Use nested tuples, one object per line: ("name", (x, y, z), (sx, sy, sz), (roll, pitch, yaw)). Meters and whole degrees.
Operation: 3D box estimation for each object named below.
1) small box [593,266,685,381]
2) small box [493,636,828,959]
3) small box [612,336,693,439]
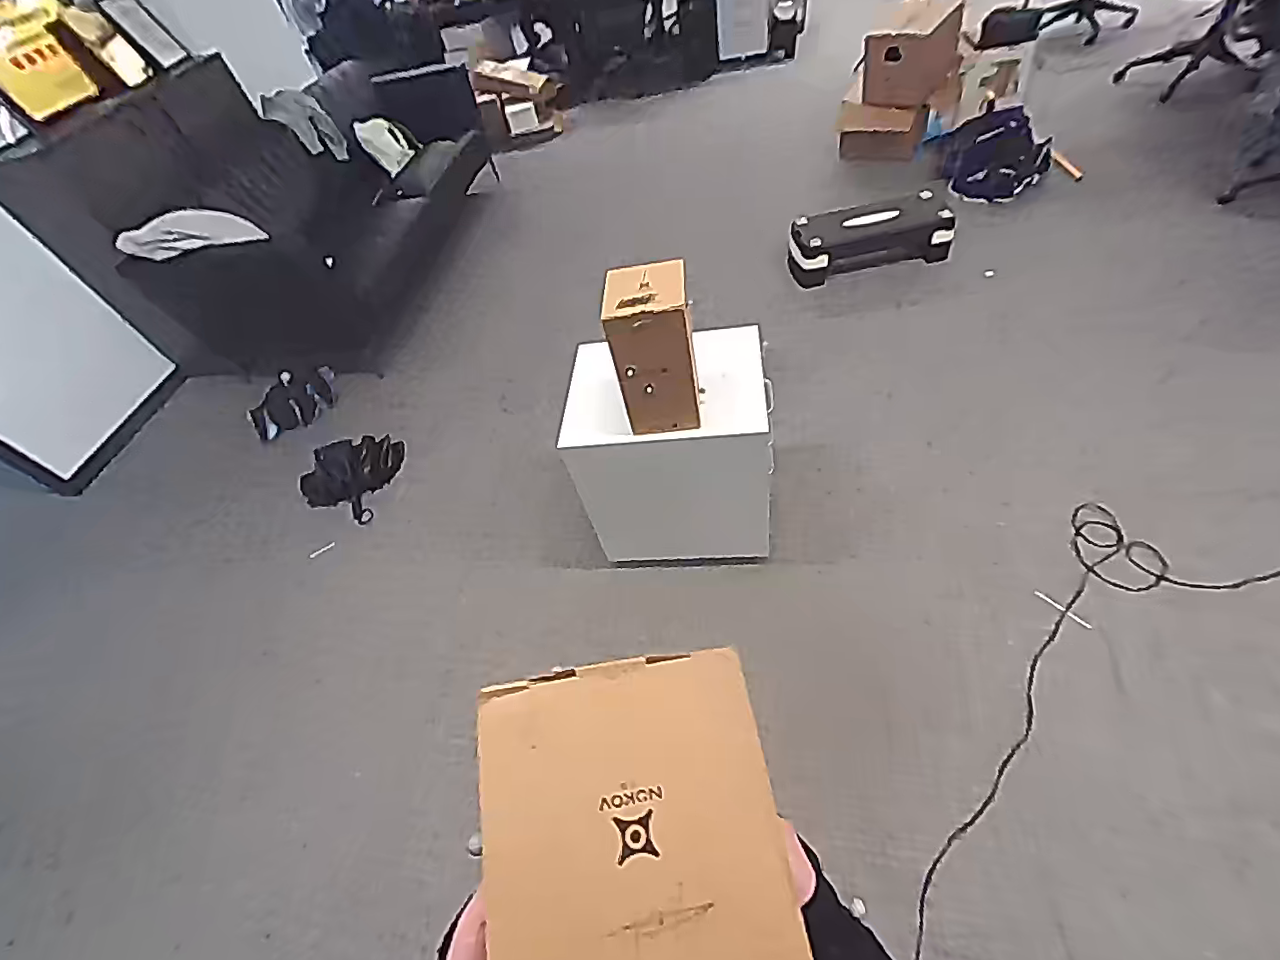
("small box", (0.004, -0.326, 1.157), (0.168, 0.176, 0.179), (-6, 49, 8))
("small box", (-0.004, 0.224, 0.375), (0.168, 0.176, 0.179), (-8, 65, -10))
("small box", (0.033, -0.221, 1.281), (0.168, 0.176, 0.179), (-7, 48, 8))
